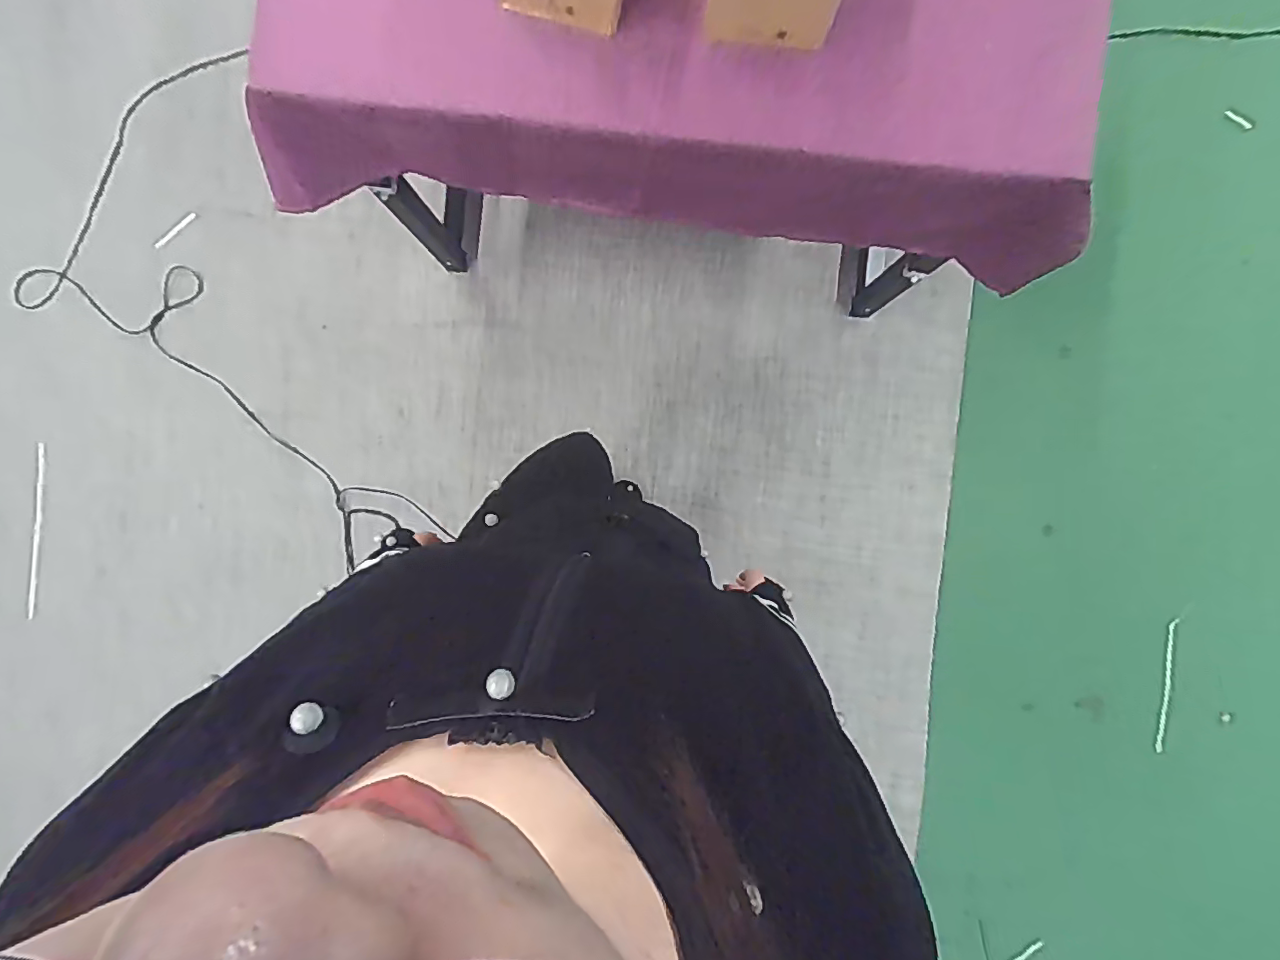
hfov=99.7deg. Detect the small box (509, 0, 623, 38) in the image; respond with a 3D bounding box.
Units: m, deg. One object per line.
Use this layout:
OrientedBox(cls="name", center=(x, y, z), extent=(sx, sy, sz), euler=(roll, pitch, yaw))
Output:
OrientedBox(cls="small box", center=(-0.095, -0.738, 0.699), extent=(0.168, 0.176, 0.179), euler=(14, 91, 0))
